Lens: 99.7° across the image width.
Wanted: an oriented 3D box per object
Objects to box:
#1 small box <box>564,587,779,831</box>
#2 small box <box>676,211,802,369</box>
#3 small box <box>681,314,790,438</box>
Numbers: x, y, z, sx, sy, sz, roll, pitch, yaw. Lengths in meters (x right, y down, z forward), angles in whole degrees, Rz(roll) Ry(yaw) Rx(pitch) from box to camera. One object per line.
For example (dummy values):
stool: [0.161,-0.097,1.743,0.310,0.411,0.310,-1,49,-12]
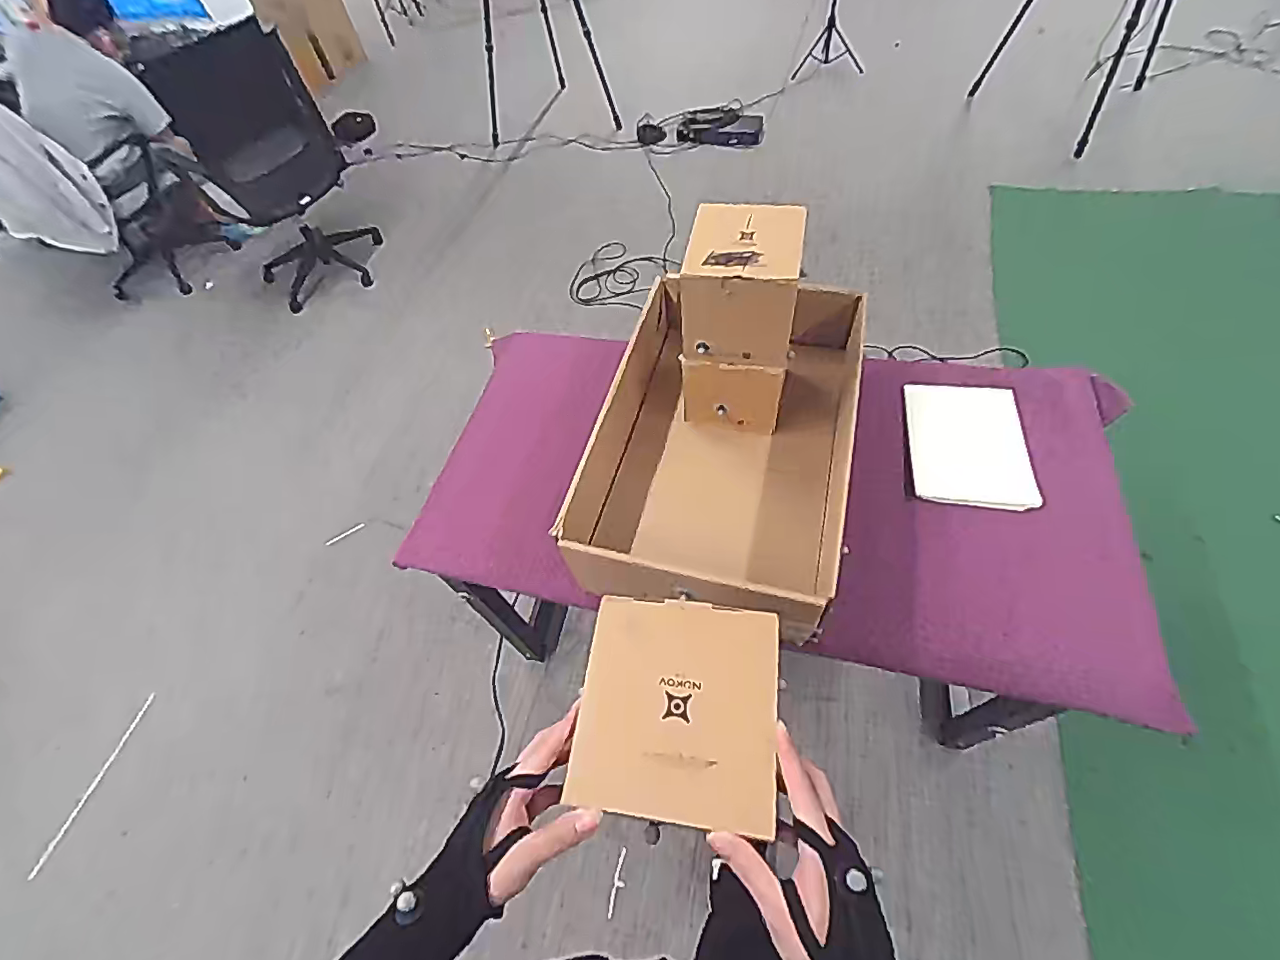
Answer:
small box: [0.039,0.223,0.522,0.168,0.176,0.179,4,58,9]
small box: [0.157,-0.298,0.859,0.168,0.176,0.179,8,58,11]
small box: [0.172,-0.203,0.992,0.168,0.176,0.179,8,60,12]
